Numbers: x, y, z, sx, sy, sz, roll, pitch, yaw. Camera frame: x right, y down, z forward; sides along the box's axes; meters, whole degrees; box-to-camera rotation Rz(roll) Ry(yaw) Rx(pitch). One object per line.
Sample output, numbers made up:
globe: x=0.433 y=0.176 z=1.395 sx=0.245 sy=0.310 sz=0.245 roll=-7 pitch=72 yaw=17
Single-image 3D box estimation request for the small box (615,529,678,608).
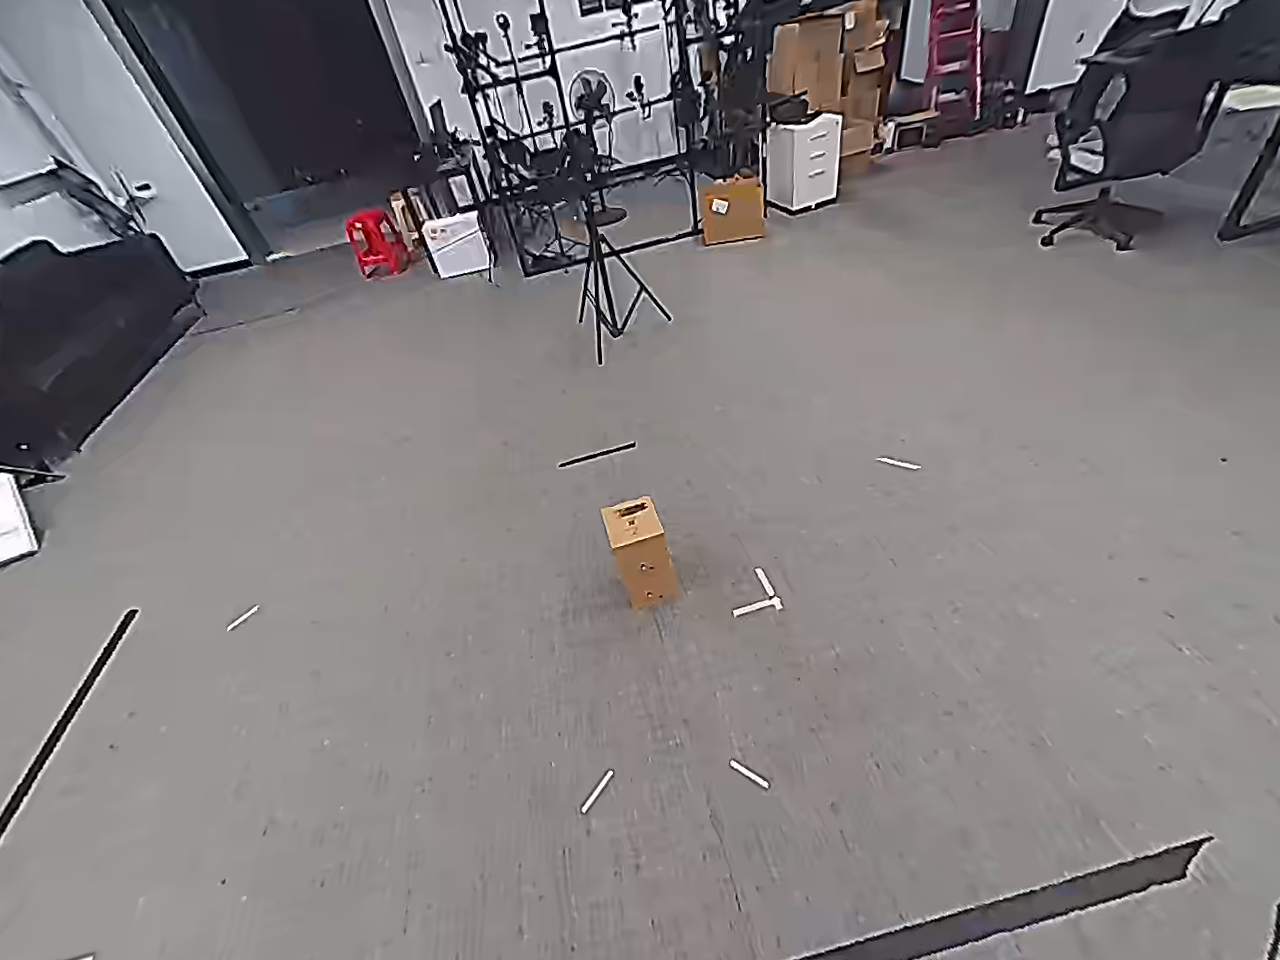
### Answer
small box: x=0.022 y=0.301 z=1.835 sx=0.168 sy=0.176 sz=0.179 roll=-16 pitch=42 yaw=-4
